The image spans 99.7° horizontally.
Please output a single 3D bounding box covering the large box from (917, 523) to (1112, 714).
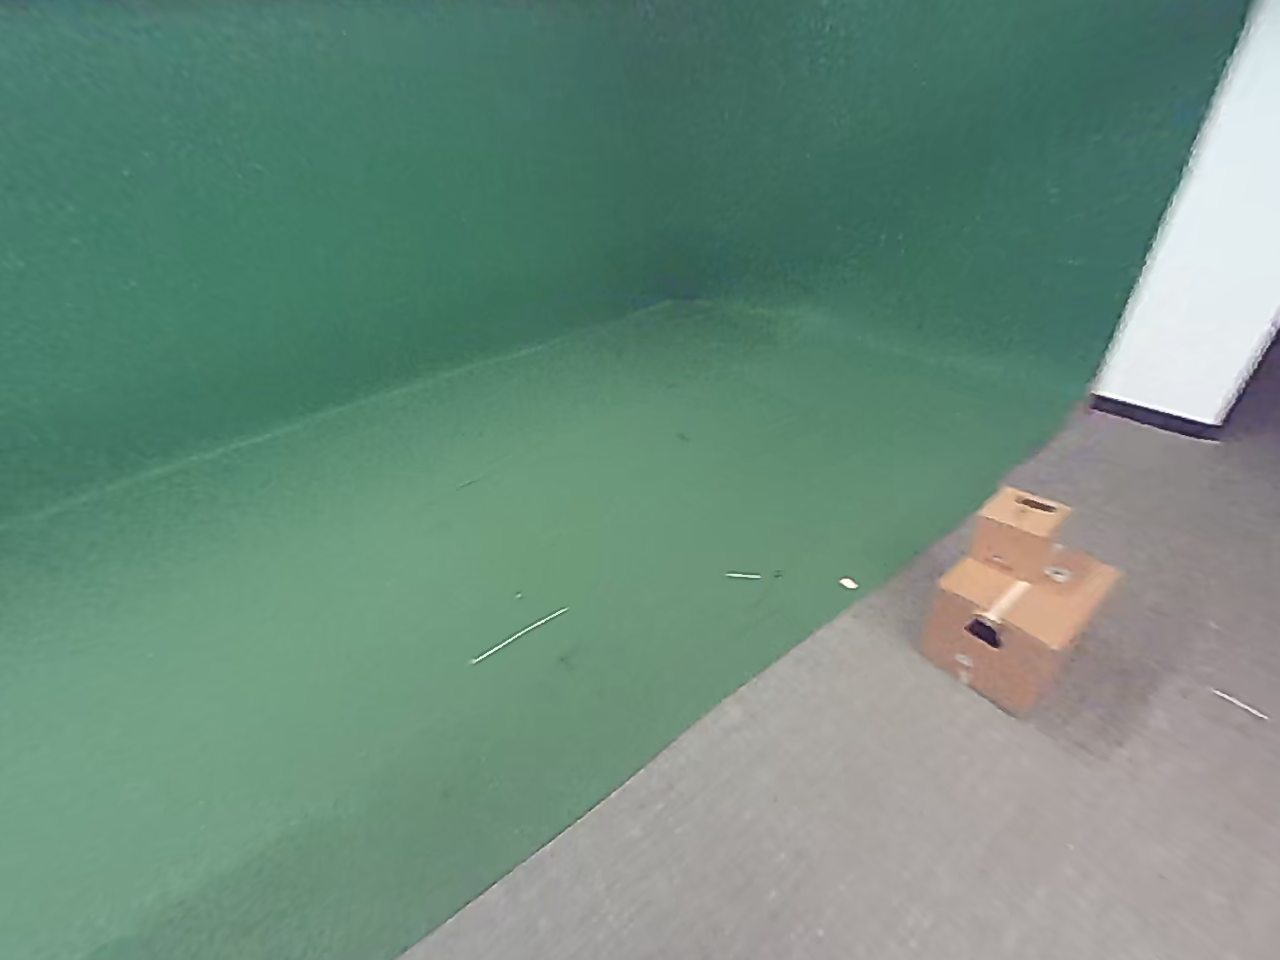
[{"bbox_3d":[1.100,0.399,1.616,0.408,0.320,0.320,-27,40,-27],"label":"large box"}]
